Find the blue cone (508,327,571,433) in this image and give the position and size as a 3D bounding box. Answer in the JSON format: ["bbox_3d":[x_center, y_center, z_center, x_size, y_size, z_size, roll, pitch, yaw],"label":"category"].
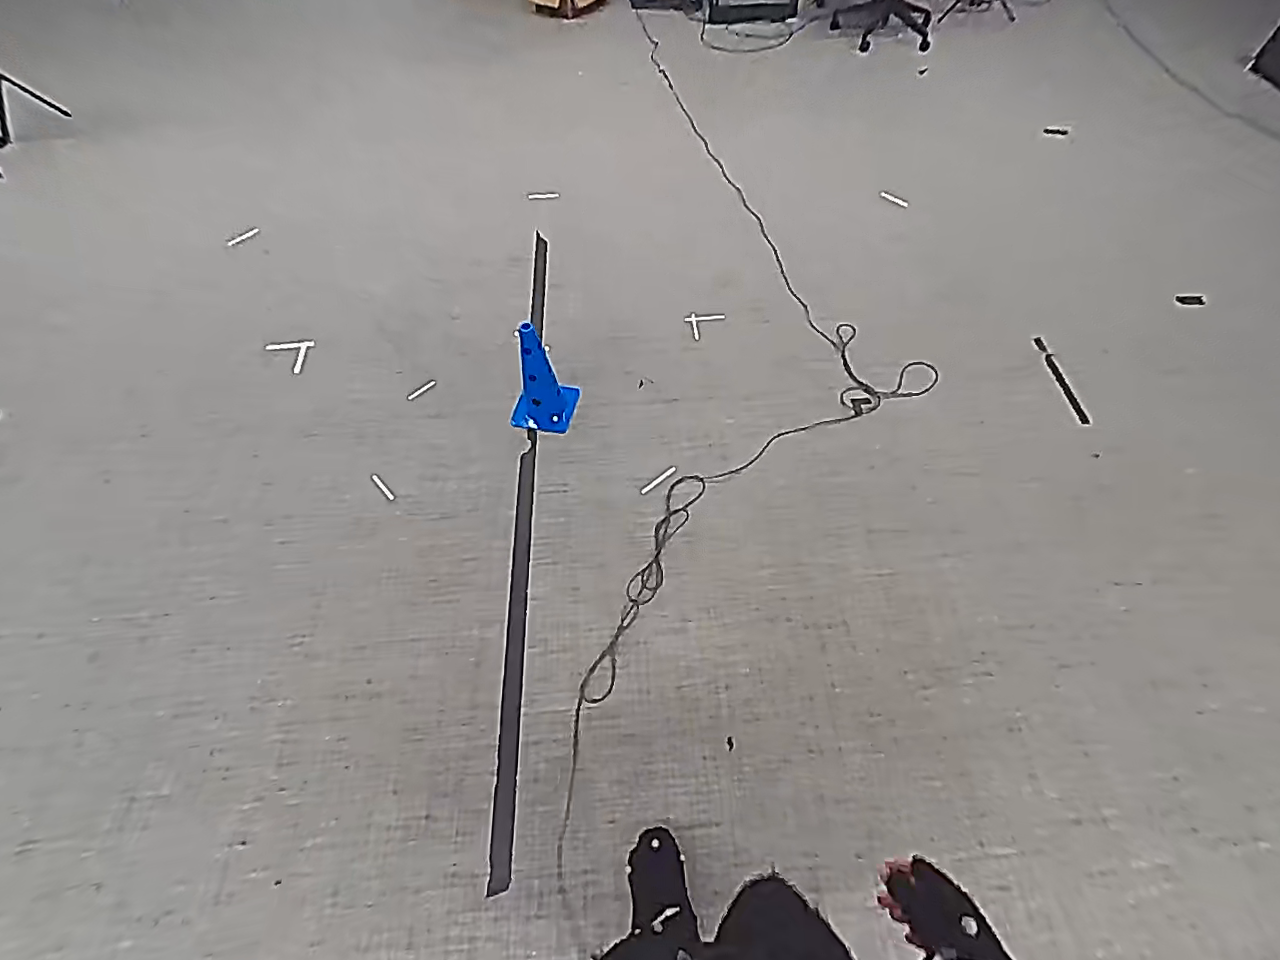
[{"bbox_3d":[-0.345,-0.328,1.710,0.192,0.380,0.193,10,58,8],"label":"blue cone"}]
